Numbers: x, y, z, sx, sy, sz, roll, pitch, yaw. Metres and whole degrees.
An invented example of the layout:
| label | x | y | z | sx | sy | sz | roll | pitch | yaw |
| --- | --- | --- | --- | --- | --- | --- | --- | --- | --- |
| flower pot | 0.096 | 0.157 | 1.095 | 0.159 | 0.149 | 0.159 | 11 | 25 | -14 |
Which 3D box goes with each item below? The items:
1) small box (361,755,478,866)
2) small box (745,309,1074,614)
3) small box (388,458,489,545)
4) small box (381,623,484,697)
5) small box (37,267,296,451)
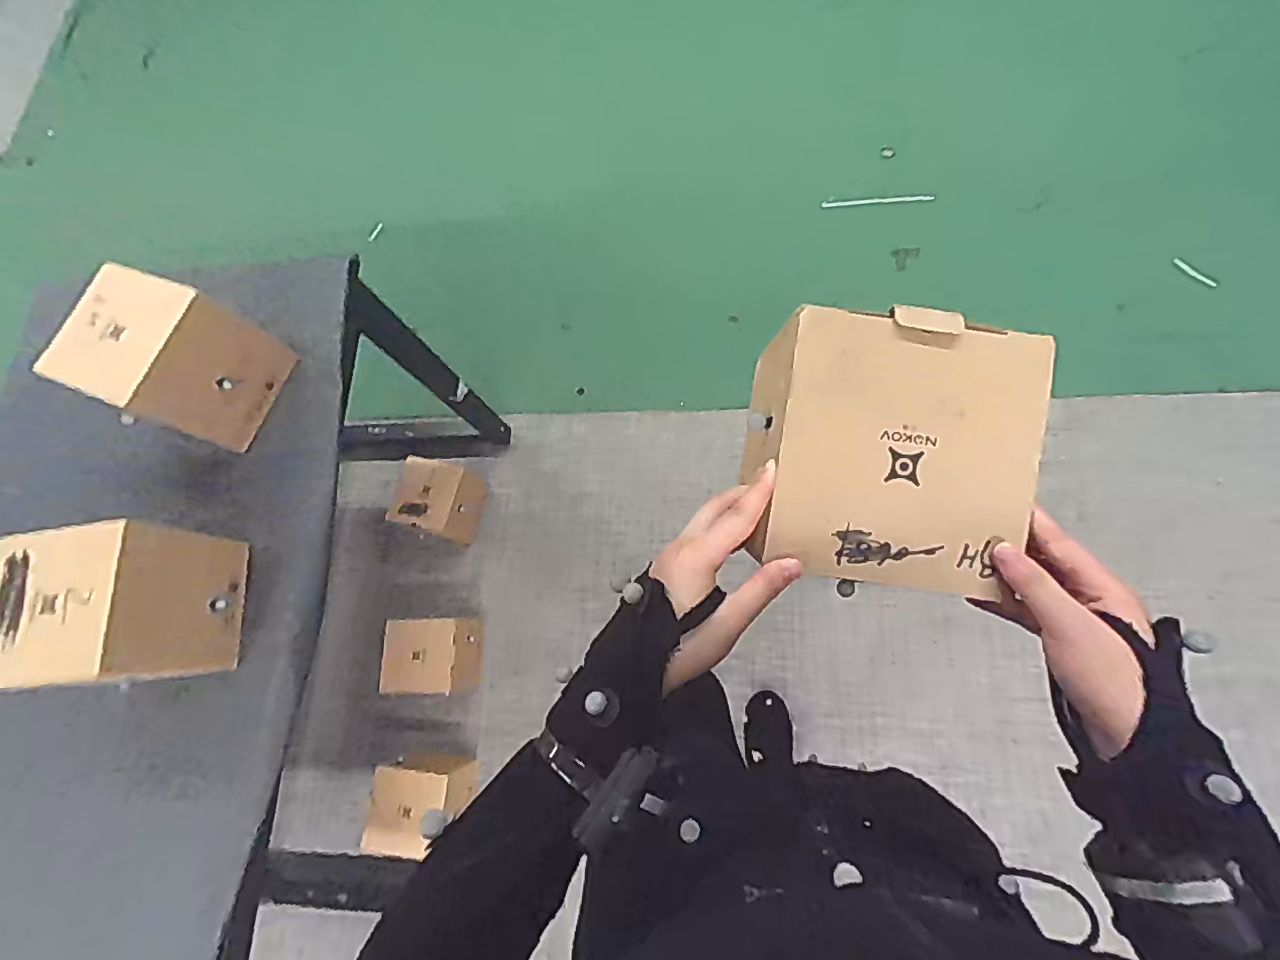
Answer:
| label | x | y | z | sx | sy | sz | roll | pitch | yaw |
| --- | --- | --- | --- | --- | --- | --- | --- | --- | --- |
| small box | -0.490 | 0.741 | 1.232 | 0.179 | 0.176 | 0.168 | 3 | 75 | 9 |
| small box | 0.184 | -0.014 | 0.426 | 0.168 | 0.176 | 0.179 | 9 | 92 | 3 |
| small box | -0.523 | 0.064 | 1.431 | 0.168 | 0.176 | 0.179 | 12 | 74 | 11 |
| small box | -0.496 | 0.435 | 1.320 | 0.179 | 0.176 | 0.168 | -4 | 73 | 8 |
| small box | -0.627 | -0.155 | 0.741 | 0.179 | 0.176 | 0.168 | 19 | 77 | 15 |
